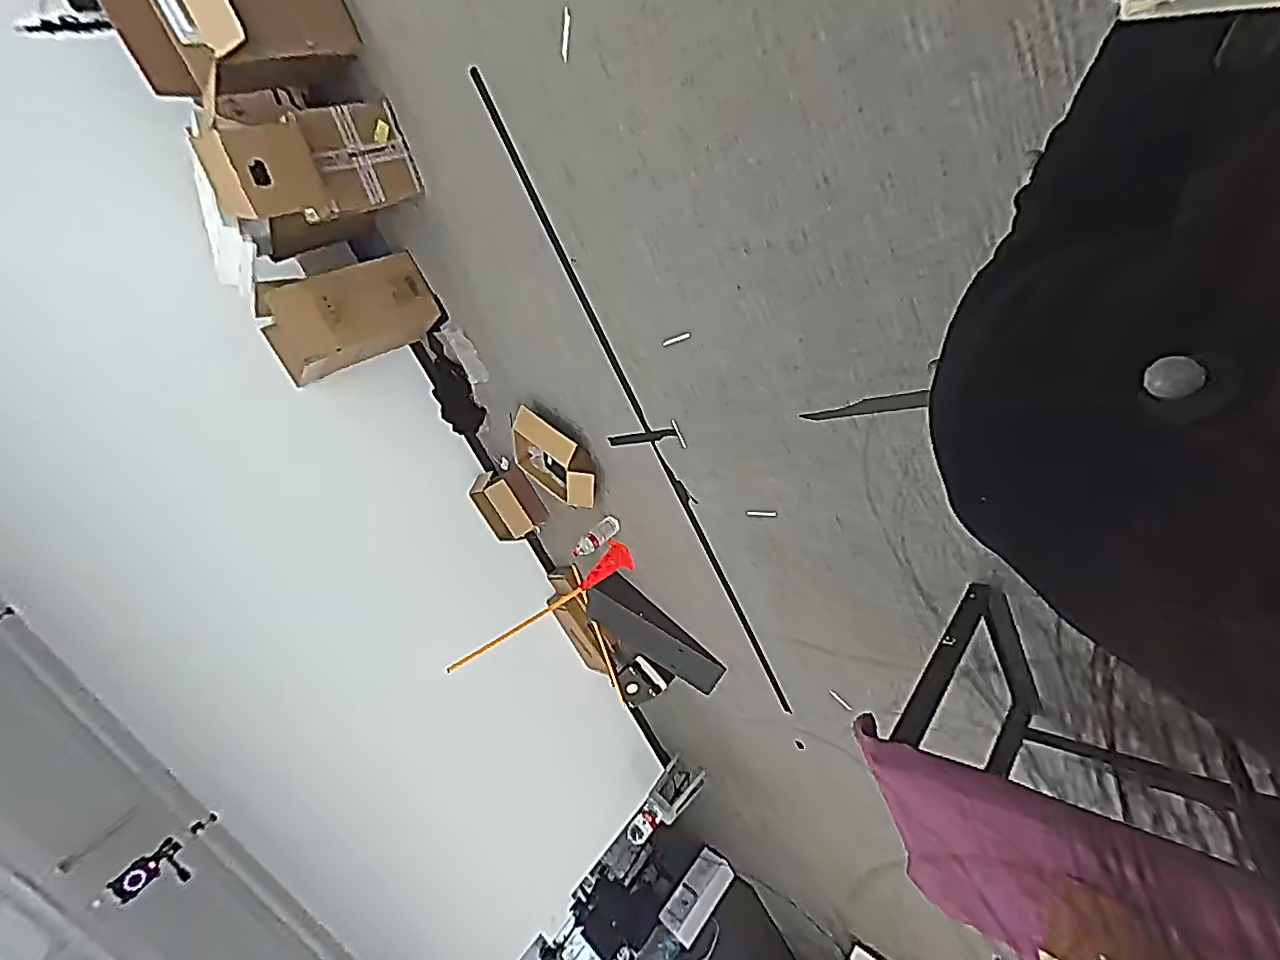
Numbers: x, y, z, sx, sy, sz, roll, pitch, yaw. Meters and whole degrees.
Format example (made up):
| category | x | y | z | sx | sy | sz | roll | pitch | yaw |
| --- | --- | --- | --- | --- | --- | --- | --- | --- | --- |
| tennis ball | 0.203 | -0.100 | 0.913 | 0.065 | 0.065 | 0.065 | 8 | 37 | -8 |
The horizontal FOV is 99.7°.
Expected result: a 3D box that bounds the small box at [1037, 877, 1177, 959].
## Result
| category | x | y | z | sx | sy | sz | roll | pitch | yaw |
| --- | --- | --- | --- | --- | --- | --- | --- | --- | --- |
| small box | 0.889 | 0.911 | 1.023 | 0.179 | 0.176 | 0.168 | 1 | 121 | 52 |
